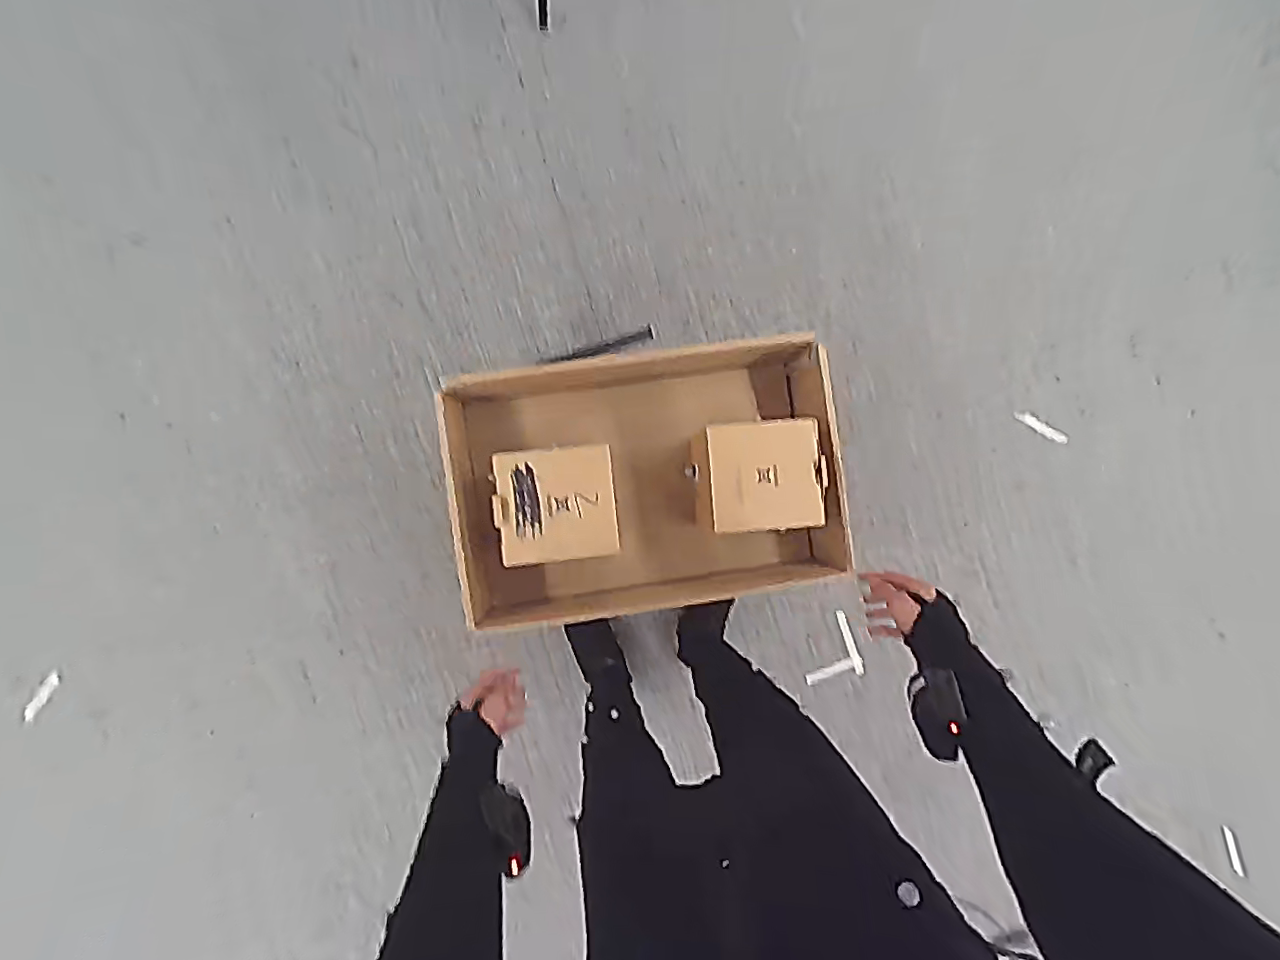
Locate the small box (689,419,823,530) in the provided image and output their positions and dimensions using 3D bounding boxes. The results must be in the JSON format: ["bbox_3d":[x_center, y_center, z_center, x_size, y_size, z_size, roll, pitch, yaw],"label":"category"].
[{"bbox_3d":[0.186,-0.008,0.907,0.179,0.176,0.168,-4,88,-4],"label":"small box"}]
